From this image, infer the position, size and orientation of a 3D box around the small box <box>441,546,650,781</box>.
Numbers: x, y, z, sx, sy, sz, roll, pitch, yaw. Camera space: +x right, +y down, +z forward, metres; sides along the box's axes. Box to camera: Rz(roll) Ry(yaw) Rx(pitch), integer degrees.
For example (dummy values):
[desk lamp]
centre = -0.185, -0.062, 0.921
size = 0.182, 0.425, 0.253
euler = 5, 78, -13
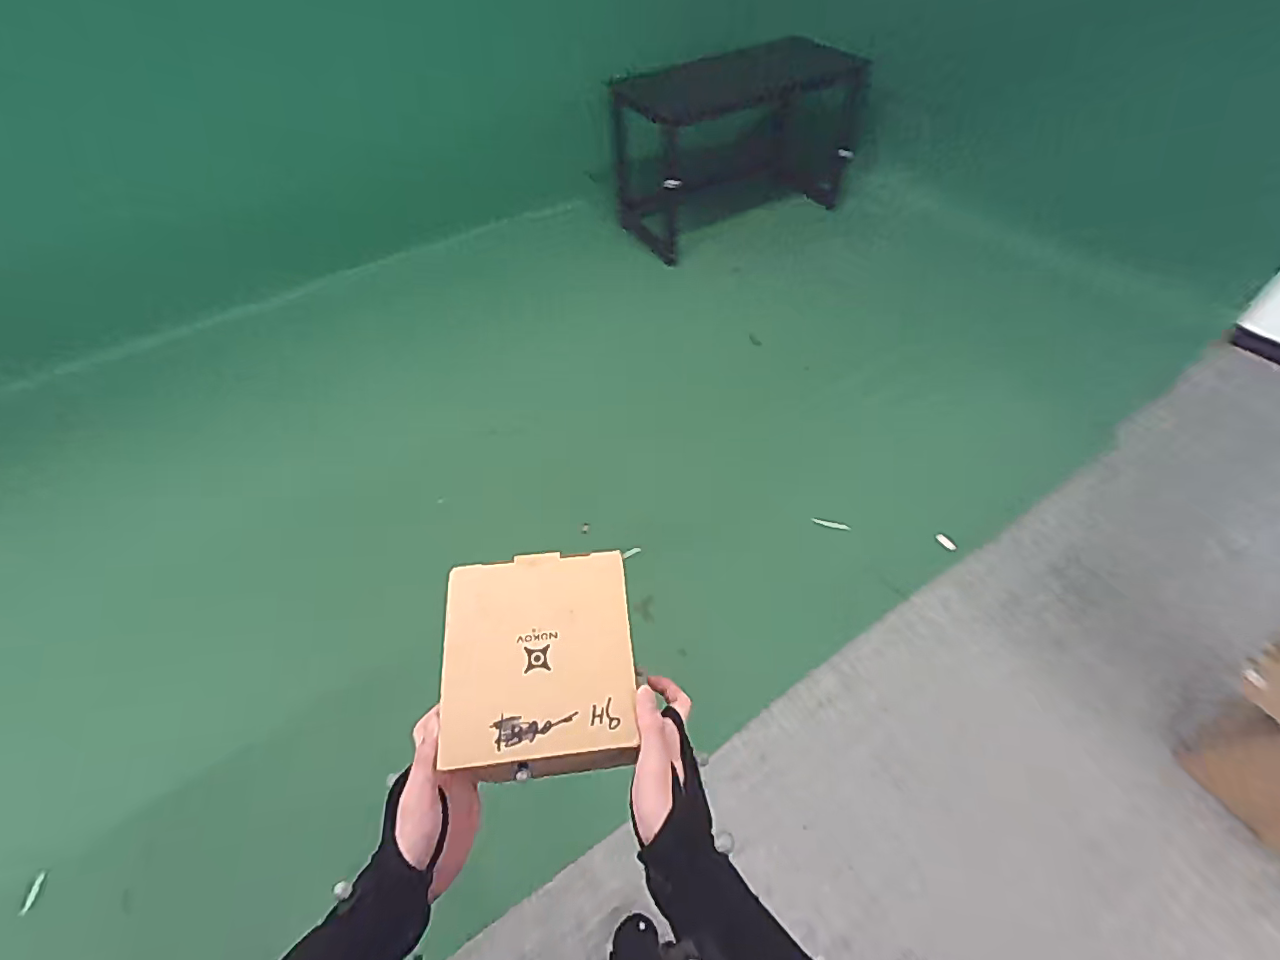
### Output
[small box]
centre = -0.082, 0.185, 0.535
size = 0.168, 0.176, 0.179
euler = -5, 57, -3
